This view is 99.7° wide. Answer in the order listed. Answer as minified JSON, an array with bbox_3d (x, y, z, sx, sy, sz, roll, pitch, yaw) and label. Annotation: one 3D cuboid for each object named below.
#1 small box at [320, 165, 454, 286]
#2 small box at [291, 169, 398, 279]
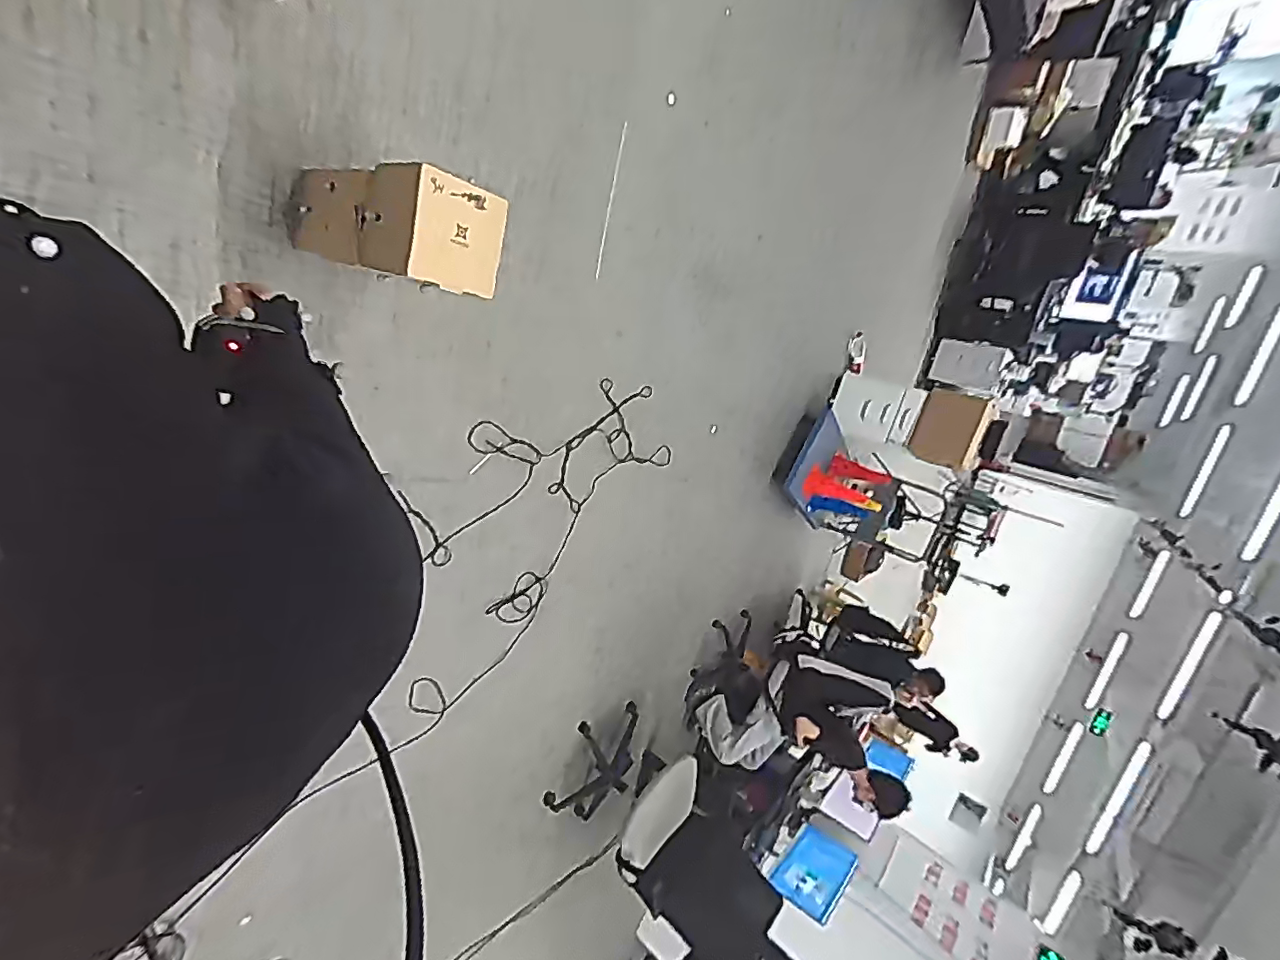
[{"bbox_3d":[-0.494,-0.487,1.050,0.179,0.176,0.168,-5,112,-52],"label":"small box"},{"bbox_3d":[-0.608,-0.543,1.154,0.179,0.176,0.168,-1,109,-53],"label":"small box"}]
